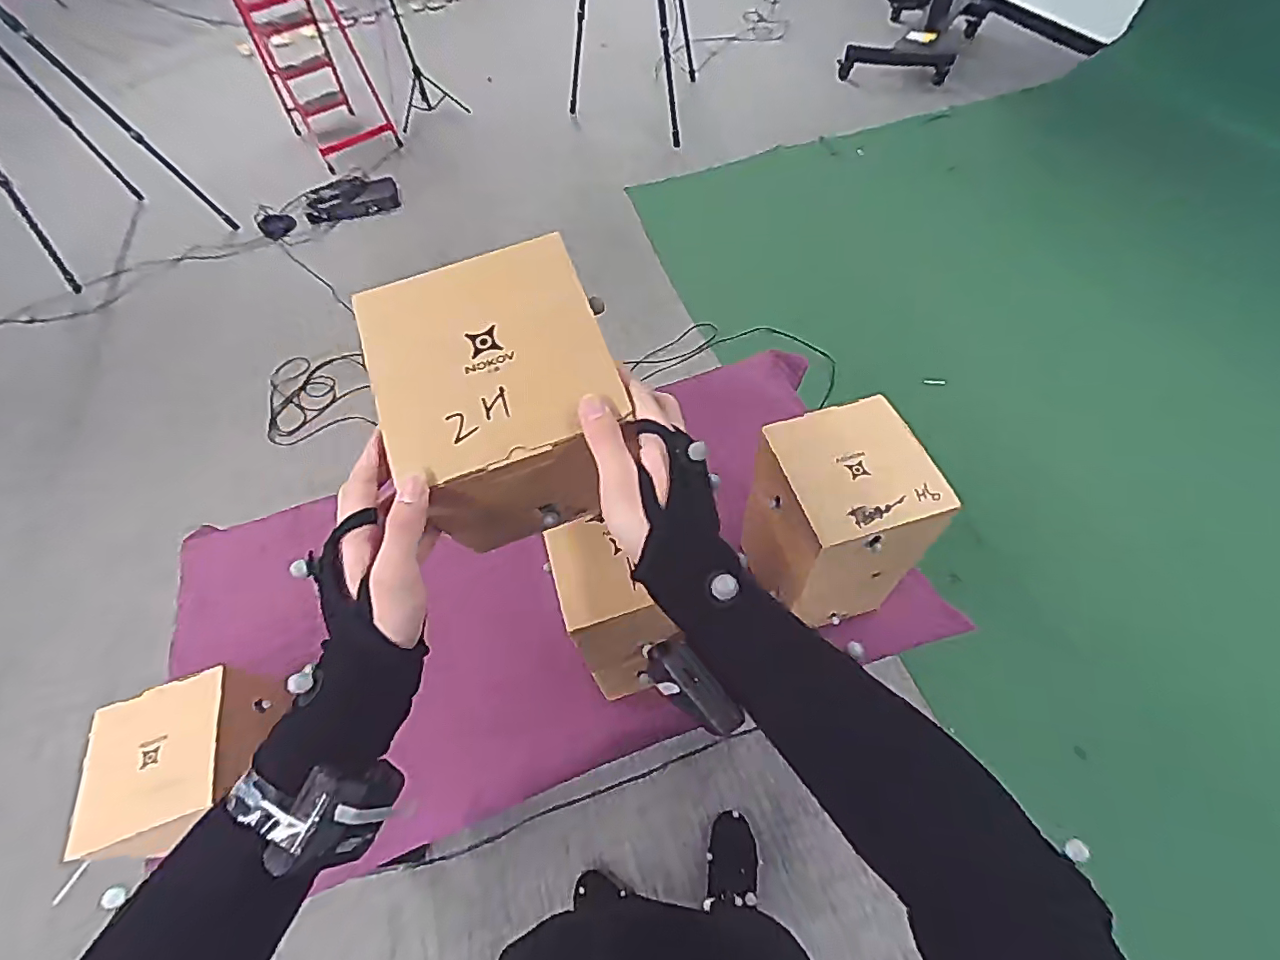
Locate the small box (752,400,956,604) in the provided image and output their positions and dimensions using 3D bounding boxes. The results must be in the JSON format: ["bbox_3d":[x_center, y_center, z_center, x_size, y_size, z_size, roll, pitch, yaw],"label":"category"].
[{"bbox_3d":[0.252,0.032,0.692,0.168,0.176,0.179,-16,56,-4],"label":"small box"}]

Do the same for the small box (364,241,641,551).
[{"bbox_3d":[-0.103,-0.059,0.462,0.168,0.176,0.179,-19,70,-5],"label":"small box"}]

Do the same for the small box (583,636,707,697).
[{"bbox_3d":[-0.005,0.206,0.803,0.168,0.176,0.179,-17,56,-6],"label":"small box"}]

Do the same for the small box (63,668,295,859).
[{"bbox_3d":[-0.601,0.387,0.736,0.168,0.176,0.179,-19,57,-7],"label":"small box"}]

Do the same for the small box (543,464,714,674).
[{"bbox_3d":[-0.017,0.114,0.668,0.168,0.176,0.179,-17,57,-5],"label":"small box"}]
